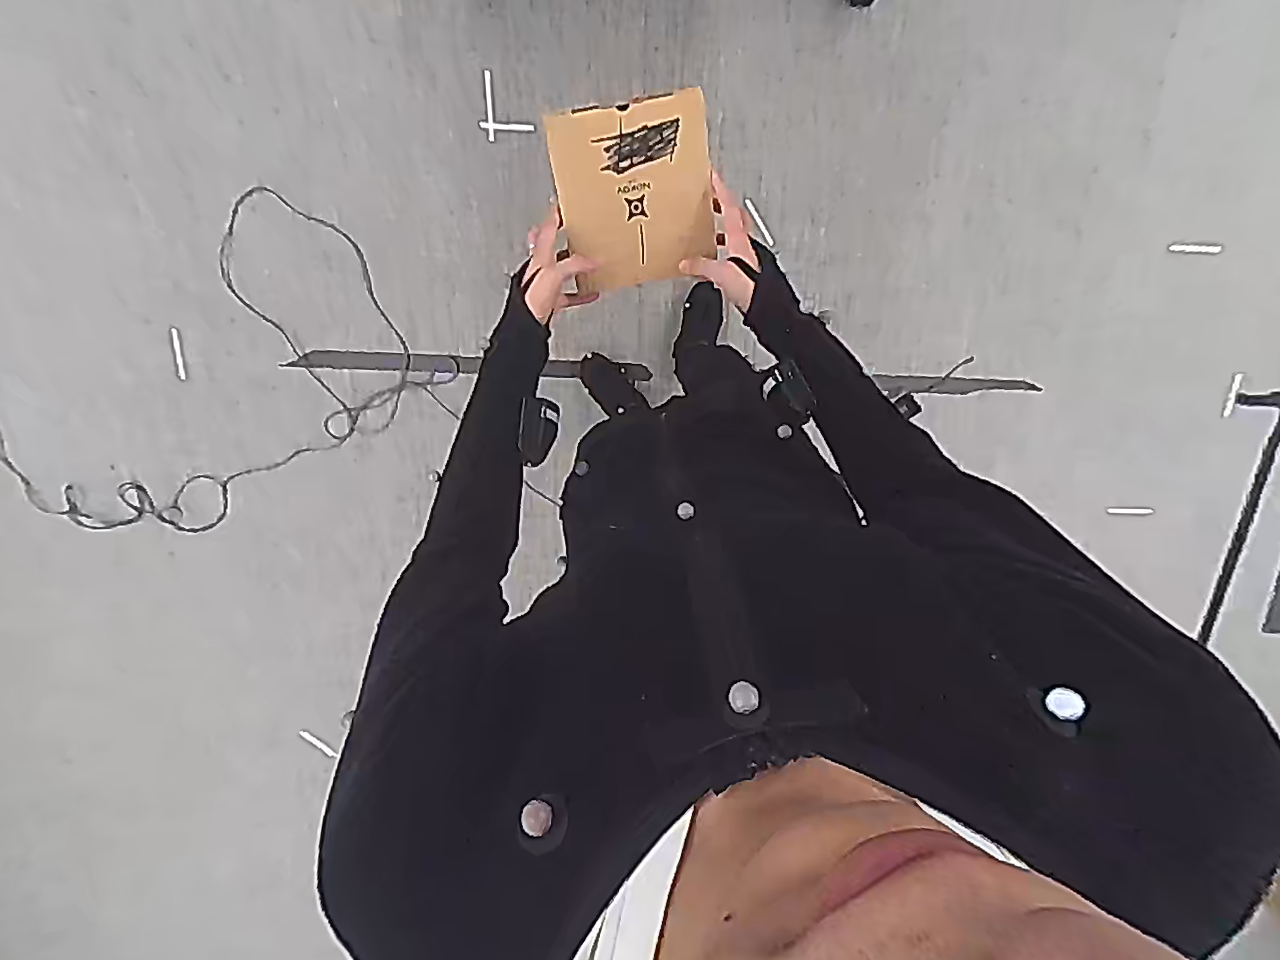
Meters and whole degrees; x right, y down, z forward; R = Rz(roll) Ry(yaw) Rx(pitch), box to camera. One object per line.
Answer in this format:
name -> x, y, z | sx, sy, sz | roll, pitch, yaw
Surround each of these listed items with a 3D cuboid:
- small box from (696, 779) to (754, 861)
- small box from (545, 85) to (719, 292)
small box -> 0.304, 1.218, 1.942 | 0.168, 0.176, 0.179 | -10, 107, -1
small box -> -0.010, -0.333, 0.637 | 0.168, 0.176, 0.179 | -10, 118, 0
